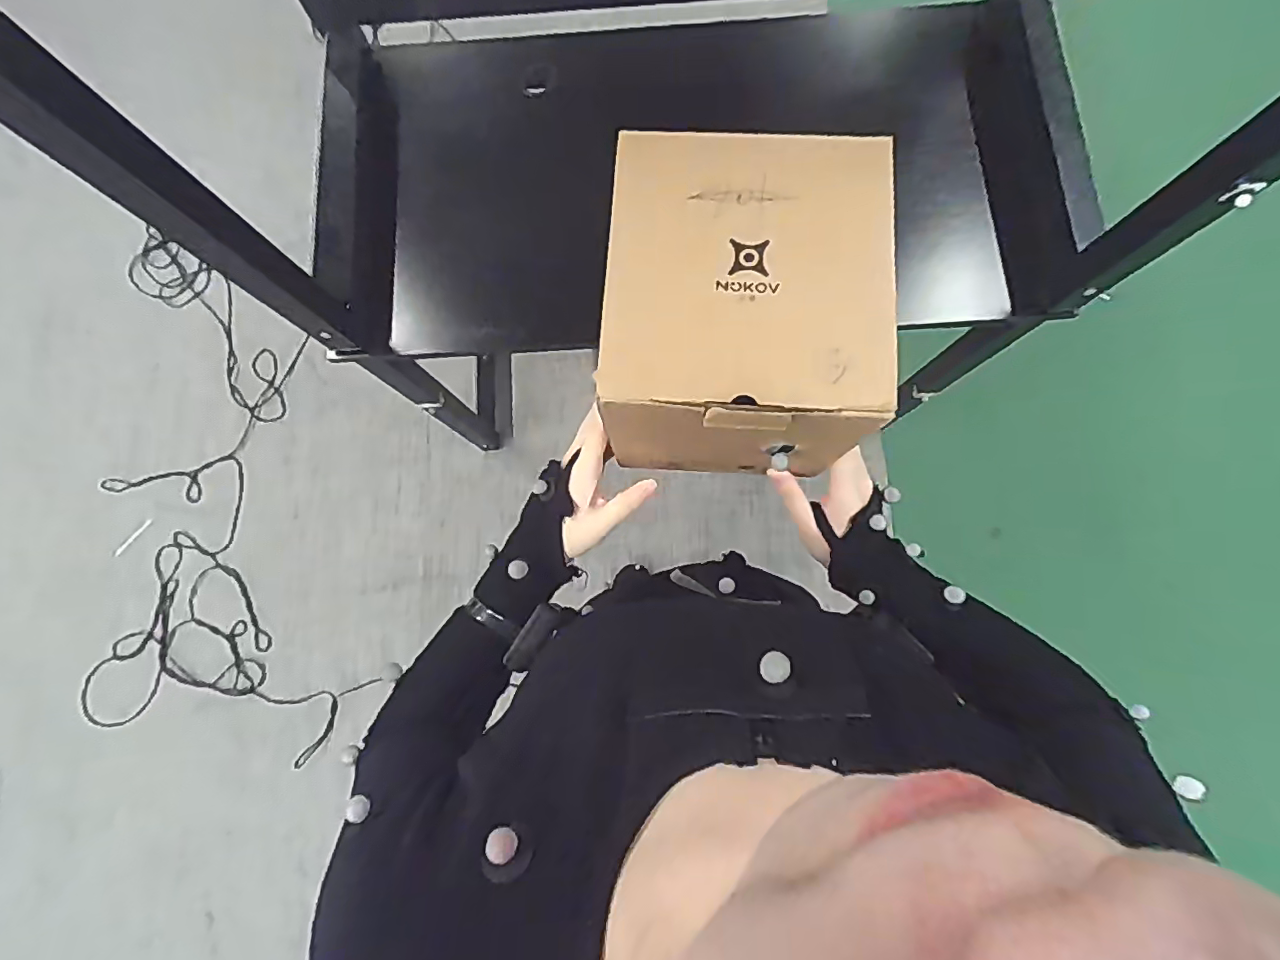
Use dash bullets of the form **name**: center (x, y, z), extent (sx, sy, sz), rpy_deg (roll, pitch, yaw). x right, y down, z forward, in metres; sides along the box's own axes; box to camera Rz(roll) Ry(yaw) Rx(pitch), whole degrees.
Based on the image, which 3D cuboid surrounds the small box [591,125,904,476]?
- **small box**: center (0.066, -0.104, 0.377), extent (0.168, 0.176, 0.179), rpy_deg (4, 79, 3)
